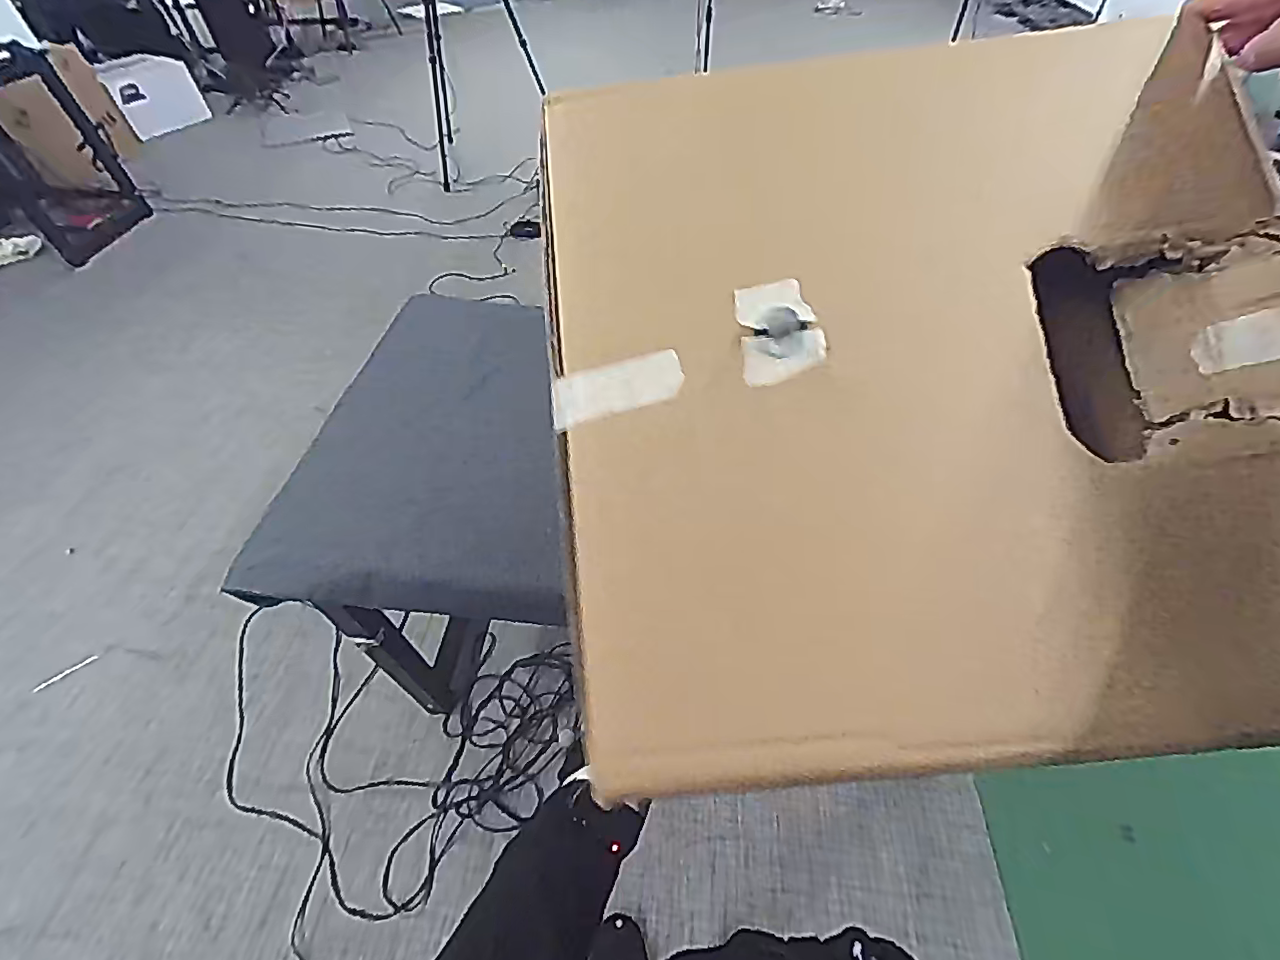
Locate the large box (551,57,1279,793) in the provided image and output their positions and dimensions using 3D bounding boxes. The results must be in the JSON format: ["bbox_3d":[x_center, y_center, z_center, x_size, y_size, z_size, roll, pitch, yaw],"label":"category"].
[{"bbox_3d":[0.124,-0.011,0.427,0.320,0.408,0.320,-6,80,-1],"label":"large box"}]
